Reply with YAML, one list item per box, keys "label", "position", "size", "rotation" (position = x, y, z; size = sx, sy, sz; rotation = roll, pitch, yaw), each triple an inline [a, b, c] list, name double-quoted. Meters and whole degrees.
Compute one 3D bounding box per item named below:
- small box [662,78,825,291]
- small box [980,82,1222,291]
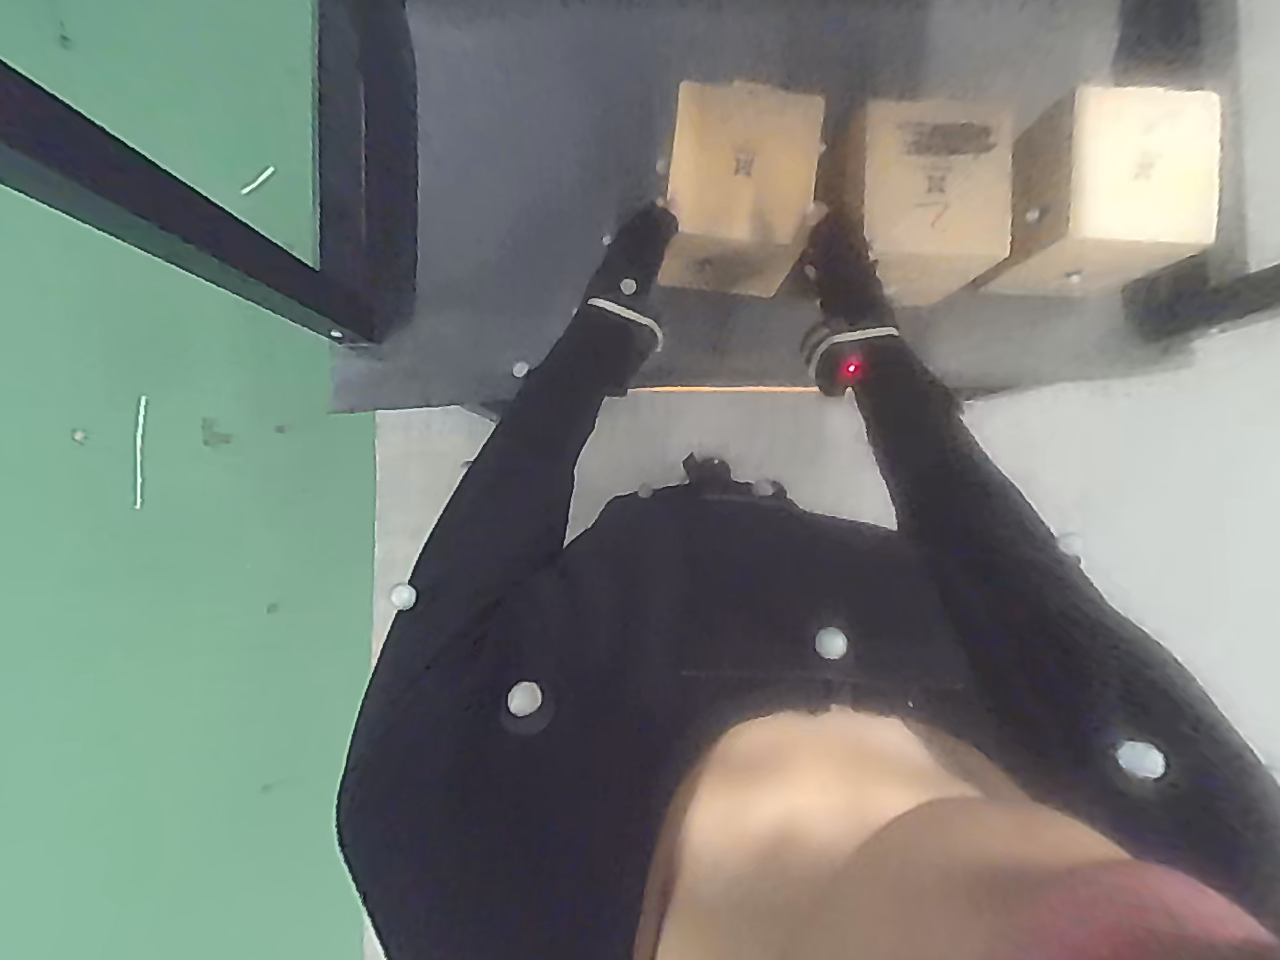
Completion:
- label: "small box"
  position: [0.119, -0.358, 0.688]
  size: [0.168, 0.176, 0.179]
  rotation: [7, 89, 0]
- label: "small box"
  position: [0.560, -0.353, 0.682]
  size: [0.168, 0.176, 0.179]
  rotation: [3, 88, 0]
